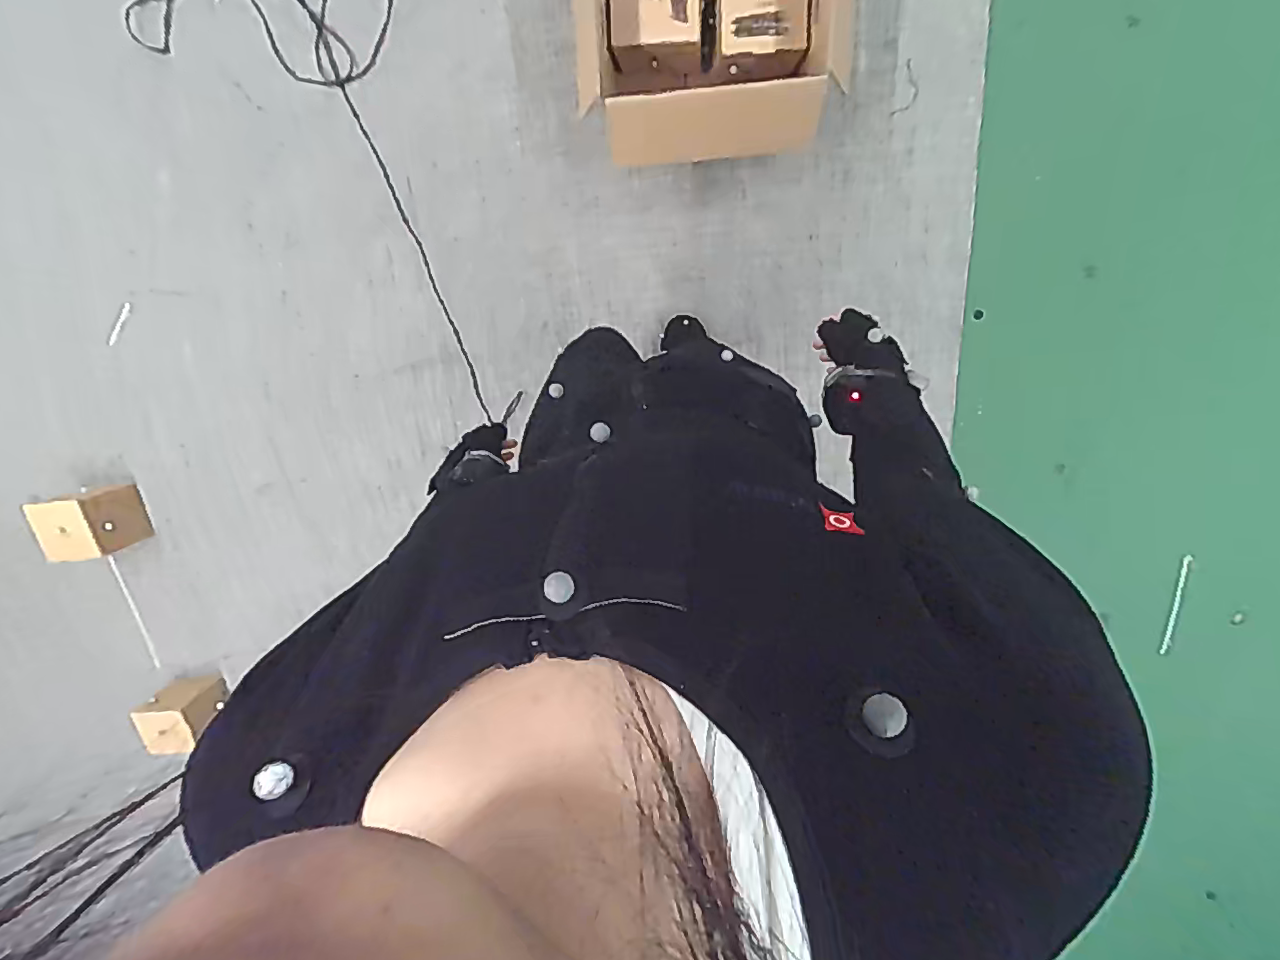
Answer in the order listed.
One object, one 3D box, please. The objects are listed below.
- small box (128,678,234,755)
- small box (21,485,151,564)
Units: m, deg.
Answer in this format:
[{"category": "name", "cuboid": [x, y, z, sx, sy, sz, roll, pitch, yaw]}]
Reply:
[{"category": "small box", "cuboid": [-1.488, 0.767, 1.763, 0.179, 0.176, 0.168, -5, 108, 5]}, {"category": "small box", "cuboid": [-1.578, 0.121, 1.553, 0.168, 0.176, 0.179, -5, 109, 4]}]
